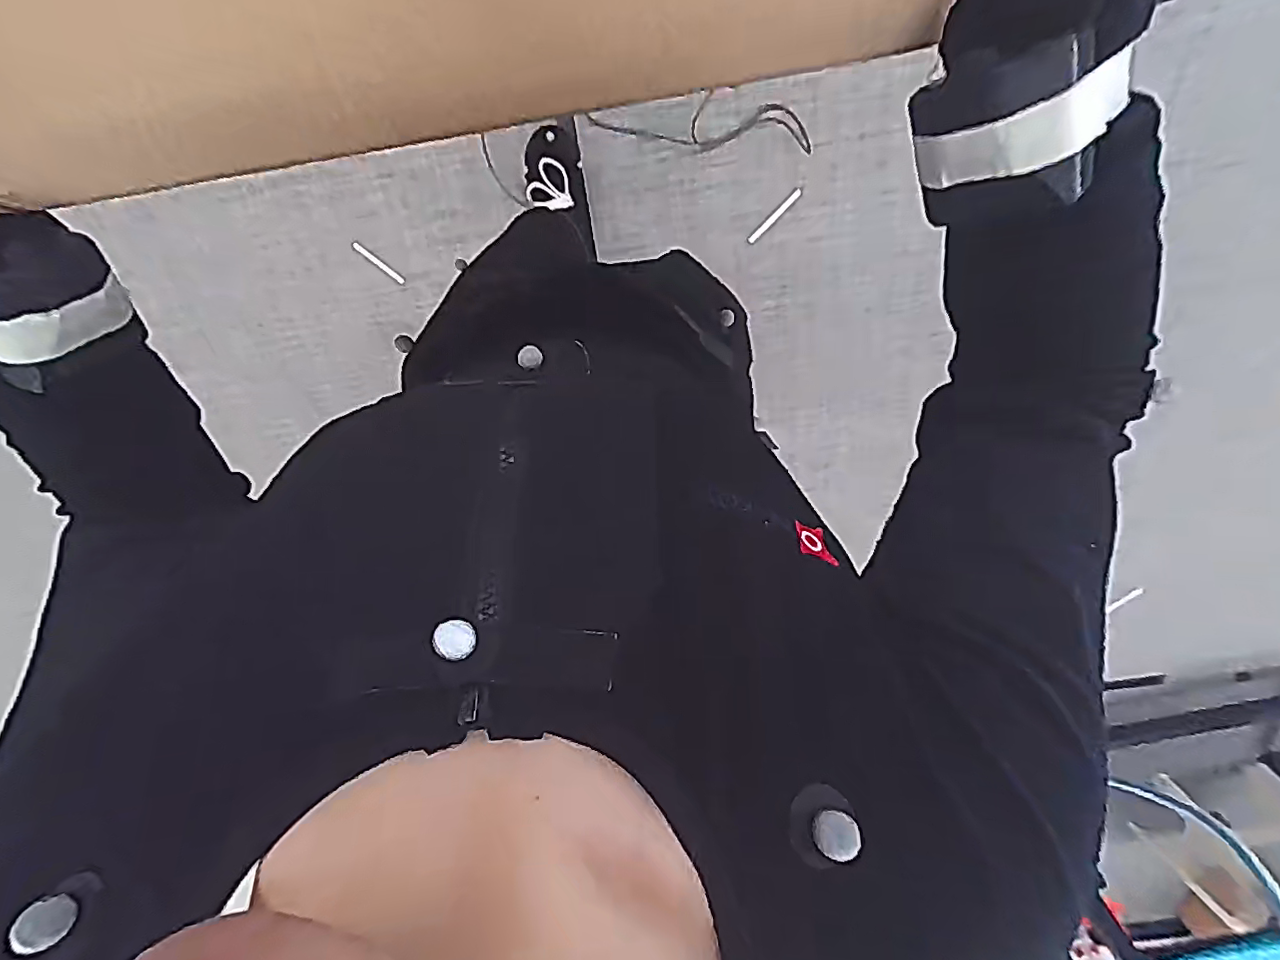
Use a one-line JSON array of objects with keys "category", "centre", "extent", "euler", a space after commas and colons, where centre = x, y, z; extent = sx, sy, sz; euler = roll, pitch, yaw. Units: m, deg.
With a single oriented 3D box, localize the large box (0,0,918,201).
[{"category": "large box", "centre": [-0.114, -0.364, 0.206], "extent": [0.408, 0.320, 0.320], "euler": [-9, 140, 2]}]
